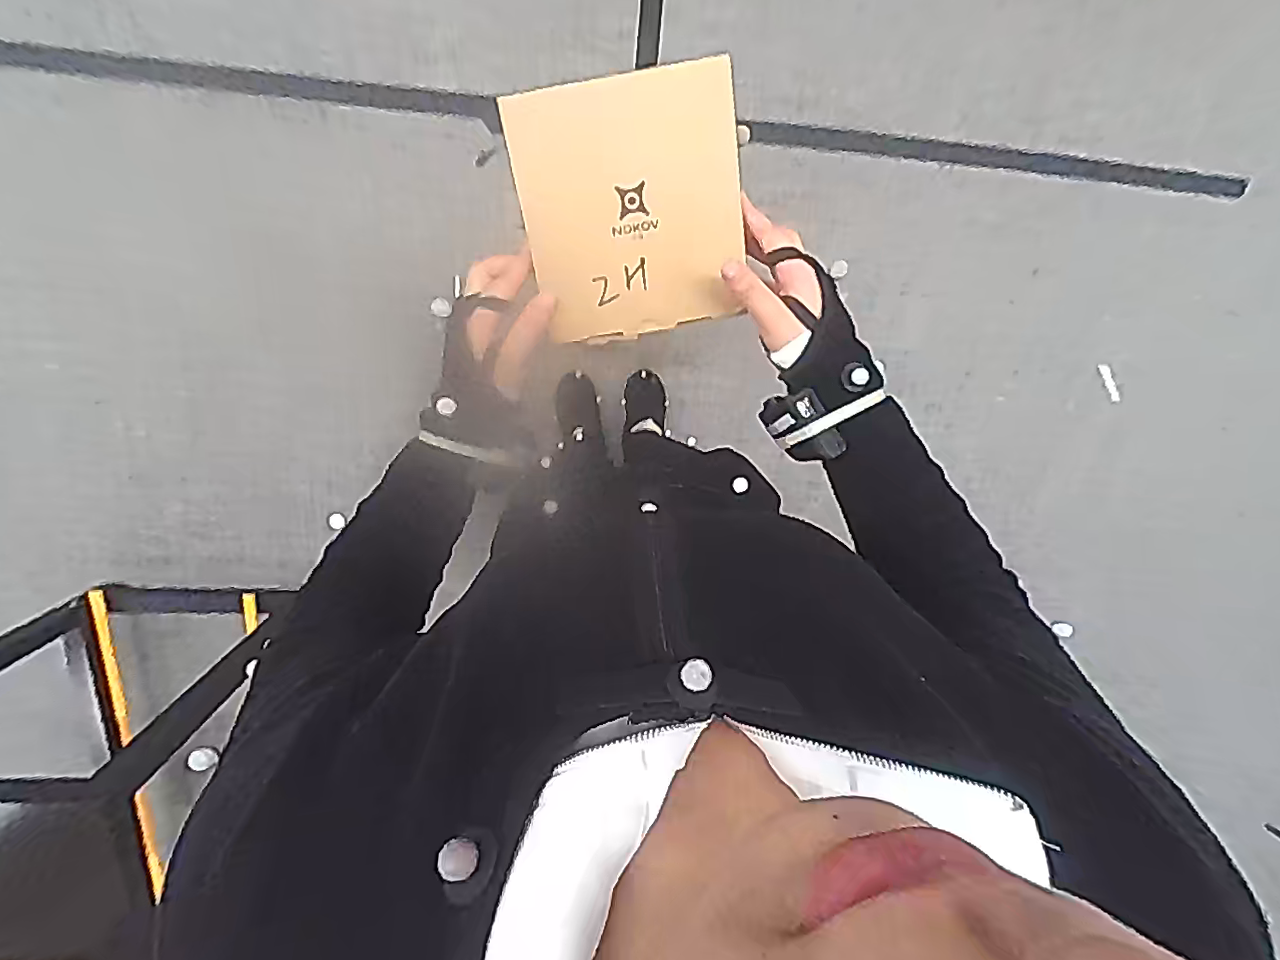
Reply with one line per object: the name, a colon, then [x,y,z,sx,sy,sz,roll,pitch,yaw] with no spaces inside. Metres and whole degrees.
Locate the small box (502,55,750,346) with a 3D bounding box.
small box: [-0.006,-0.229,0.473,0.168,0.176,0.179,-8,115,3]

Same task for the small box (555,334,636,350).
small box: [-0.095,-0.372,1.136,0.168,0.176,0.179,-4,106,-3]
